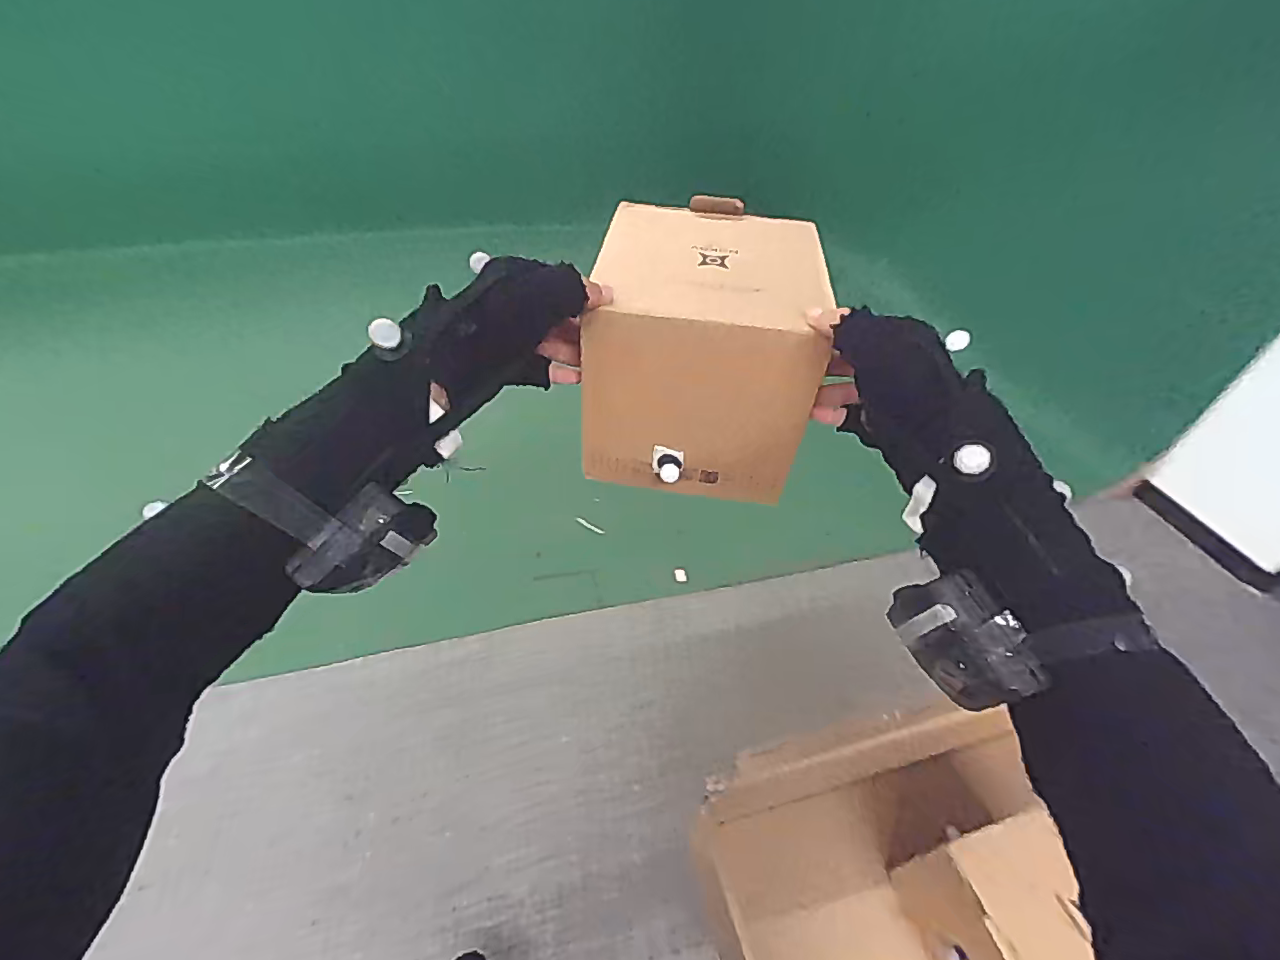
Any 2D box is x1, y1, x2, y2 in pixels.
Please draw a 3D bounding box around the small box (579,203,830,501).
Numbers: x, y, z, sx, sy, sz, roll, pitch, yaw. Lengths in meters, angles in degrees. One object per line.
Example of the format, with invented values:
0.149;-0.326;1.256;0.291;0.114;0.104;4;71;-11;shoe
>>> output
0.044;-0.107;0.458;0.168;0.176;0.179;6;48;2;small box
